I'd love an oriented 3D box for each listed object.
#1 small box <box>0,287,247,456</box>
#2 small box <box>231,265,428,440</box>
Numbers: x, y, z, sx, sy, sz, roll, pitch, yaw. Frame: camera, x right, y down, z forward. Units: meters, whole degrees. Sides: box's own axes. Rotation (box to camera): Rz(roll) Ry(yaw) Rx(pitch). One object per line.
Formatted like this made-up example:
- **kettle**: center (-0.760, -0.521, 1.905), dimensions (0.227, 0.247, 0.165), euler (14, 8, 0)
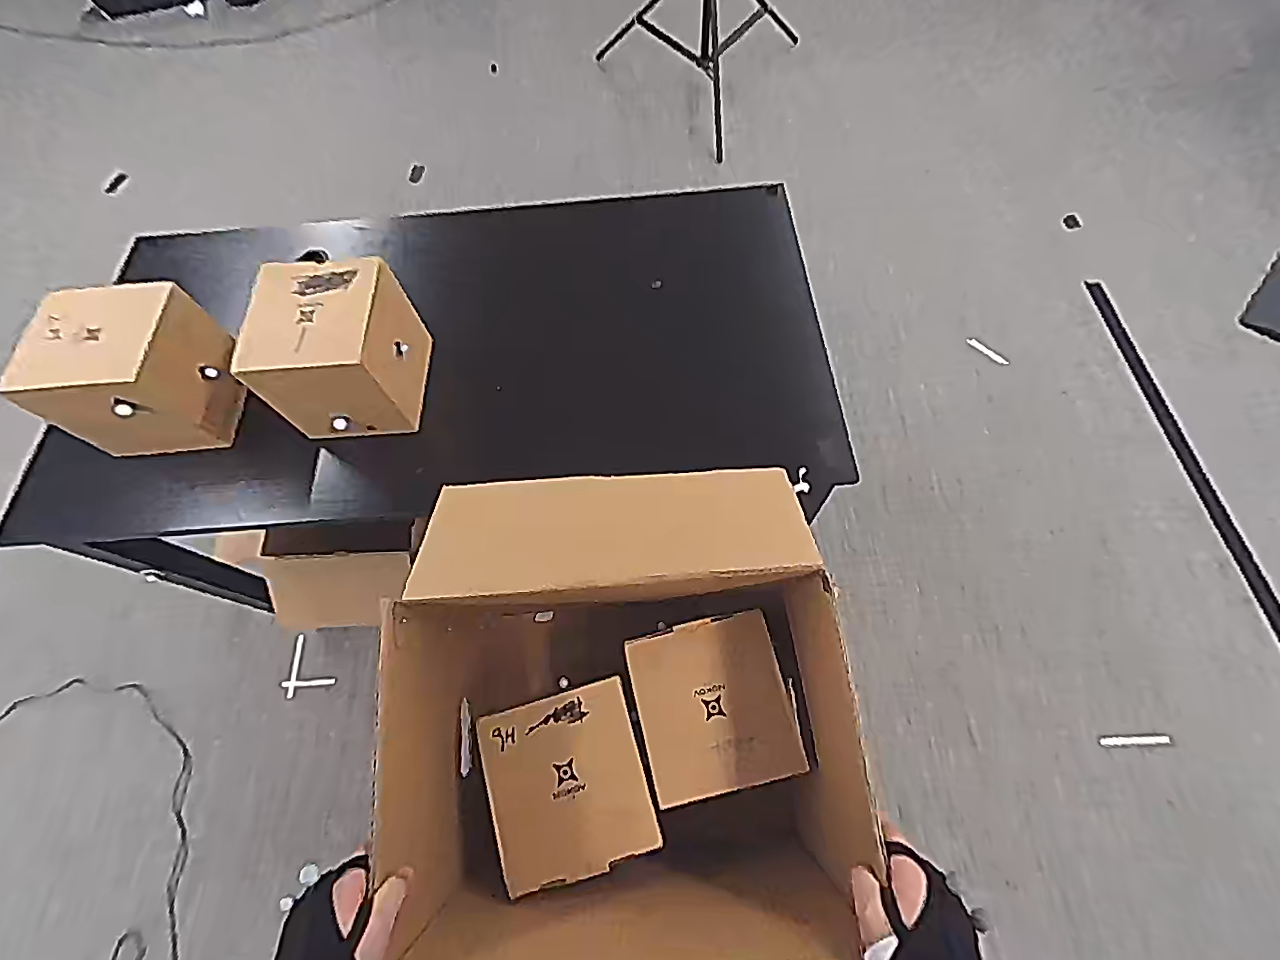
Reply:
- **small box**: center (-0.702, -0.146, 0.764), dimensions (0.179, 0.176, 0.168), euler (-5, 64, 0)
- **small box**: center (-0.418, -0.174, 0.765), dimensions (0.168, 0.176, 0.179), euler (-4, 65, 2)
